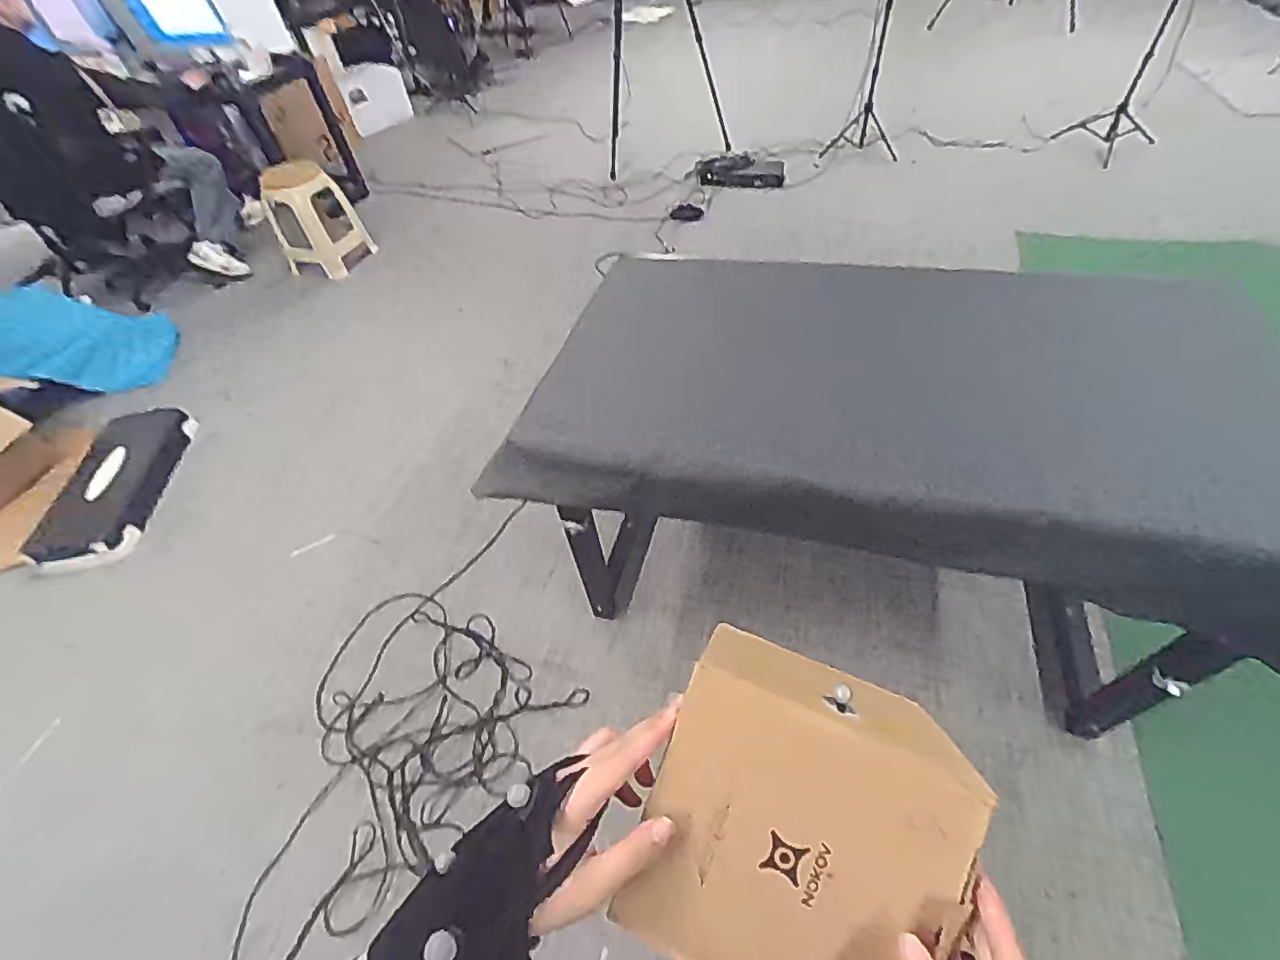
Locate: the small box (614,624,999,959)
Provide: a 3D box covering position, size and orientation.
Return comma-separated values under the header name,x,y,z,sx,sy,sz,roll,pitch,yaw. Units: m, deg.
name,x,y,z,sx,sy,sz,roll,pitch,yaw
small box,0.107,0.216,0.388,0.179,0.176,0.168,19,87,15
